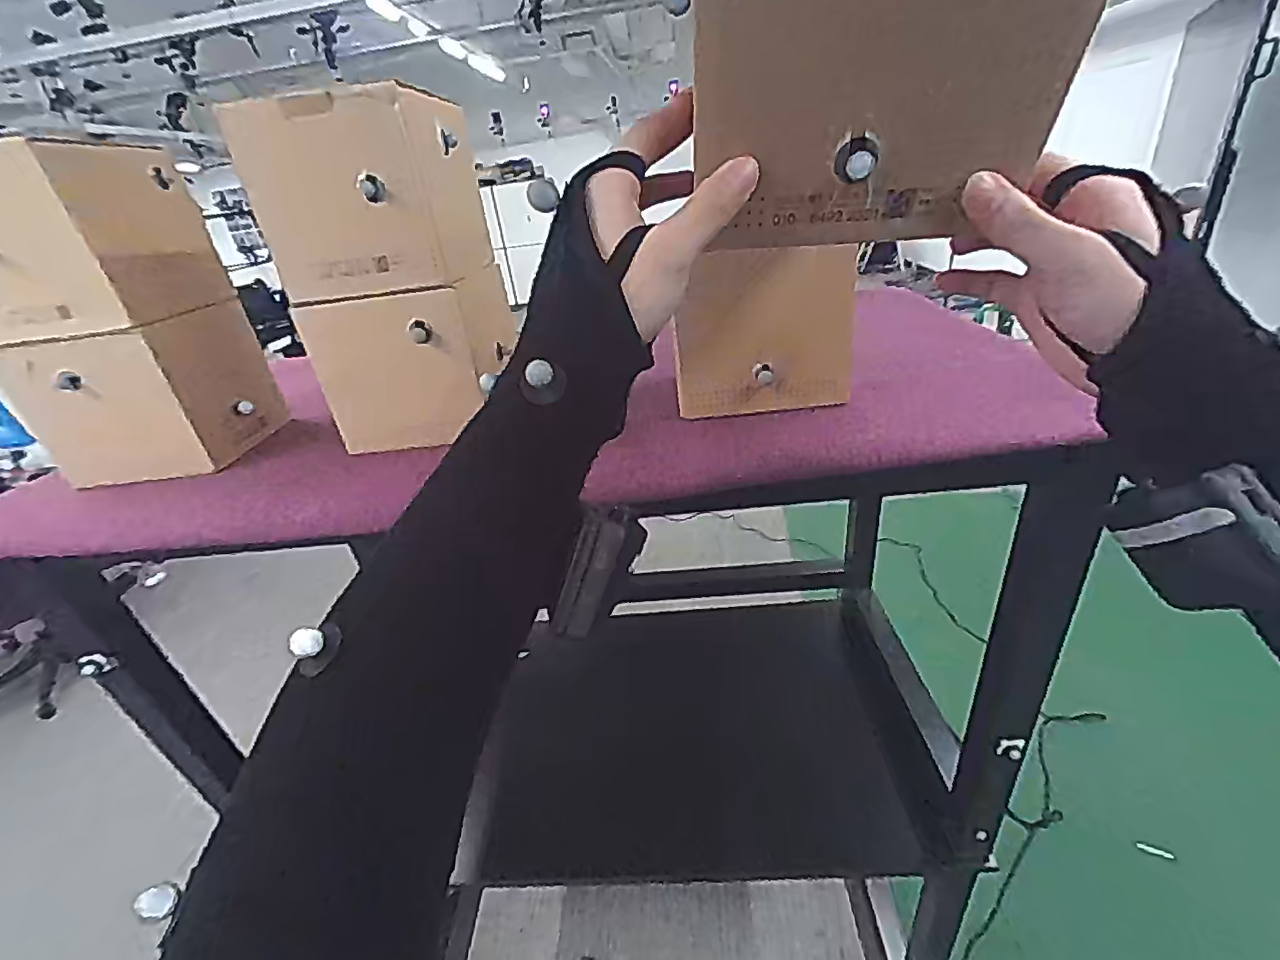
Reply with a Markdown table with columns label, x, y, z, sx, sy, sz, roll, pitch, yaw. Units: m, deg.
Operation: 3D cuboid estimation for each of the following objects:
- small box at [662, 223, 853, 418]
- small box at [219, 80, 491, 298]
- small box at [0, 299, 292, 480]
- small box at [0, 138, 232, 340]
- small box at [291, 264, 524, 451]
| label | x | y | z | sx | sy | sz | roll | pitch | yaw |
| --- | --- | --- | --- | --- | --- | --- | --- | --- | --- |
| small box | 0.119 | -0.179 | 0.599 | 0.179 | 0.176 | 0.168 | -5 | 27 | 5 |
| small box | -0.271 | -0.292 | 0.569 | 0.168 | 0.176 | 0.179 | -4 | 28 | 5 |
| small box | -0.579 | -0.110 | 0.659 | 0.179 | 0.176 | 0.168 | -6 | 29 | 2 |
| small box | -0.599 | -0.253 | 0.585 | 0.168 | 0.176 | 0.179 | -7 | 28 | 1 |
| small box | -0.250 | -0.146 | 0.638 | 0.179 | 0.176 | 0.168 | -5 | 28 | 6 |
